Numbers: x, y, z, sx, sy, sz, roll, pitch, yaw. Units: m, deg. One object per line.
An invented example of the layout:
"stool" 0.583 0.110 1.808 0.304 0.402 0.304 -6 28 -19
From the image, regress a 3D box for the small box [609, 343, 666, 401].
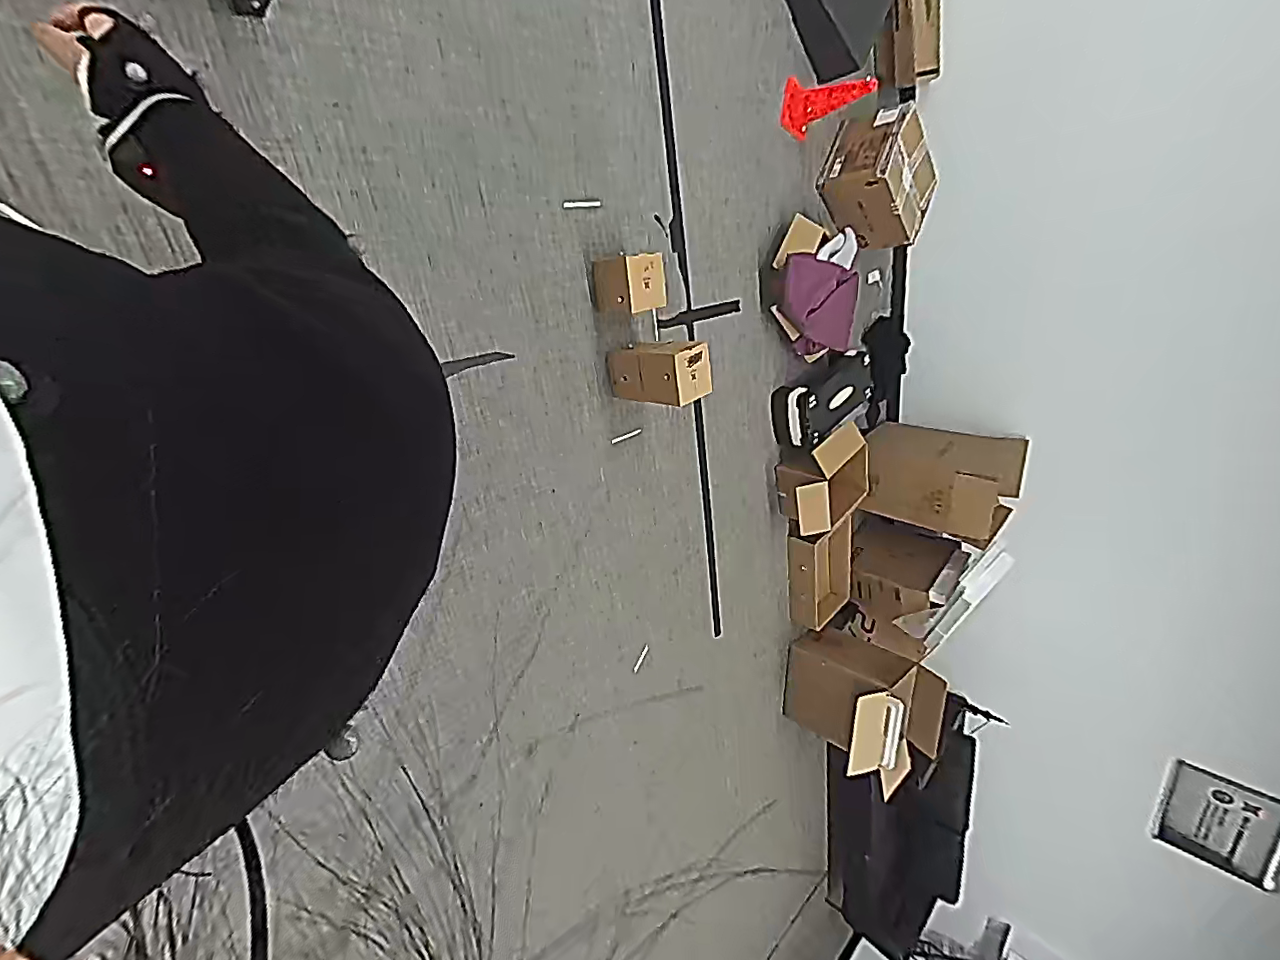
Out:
"small box" 0.006 -0.392 1.938 0.179 0.176 0.168 -29 120 -35

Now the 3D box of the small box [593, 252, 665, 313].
"small box" -0.037 -0.660 1.815 0.168 0.176 0.179 -25 118 -38

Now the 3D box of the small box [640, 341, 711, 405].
"small box" 0.117 -0.363 1.818 0.168 0.176 0.179 -29 121 -36
